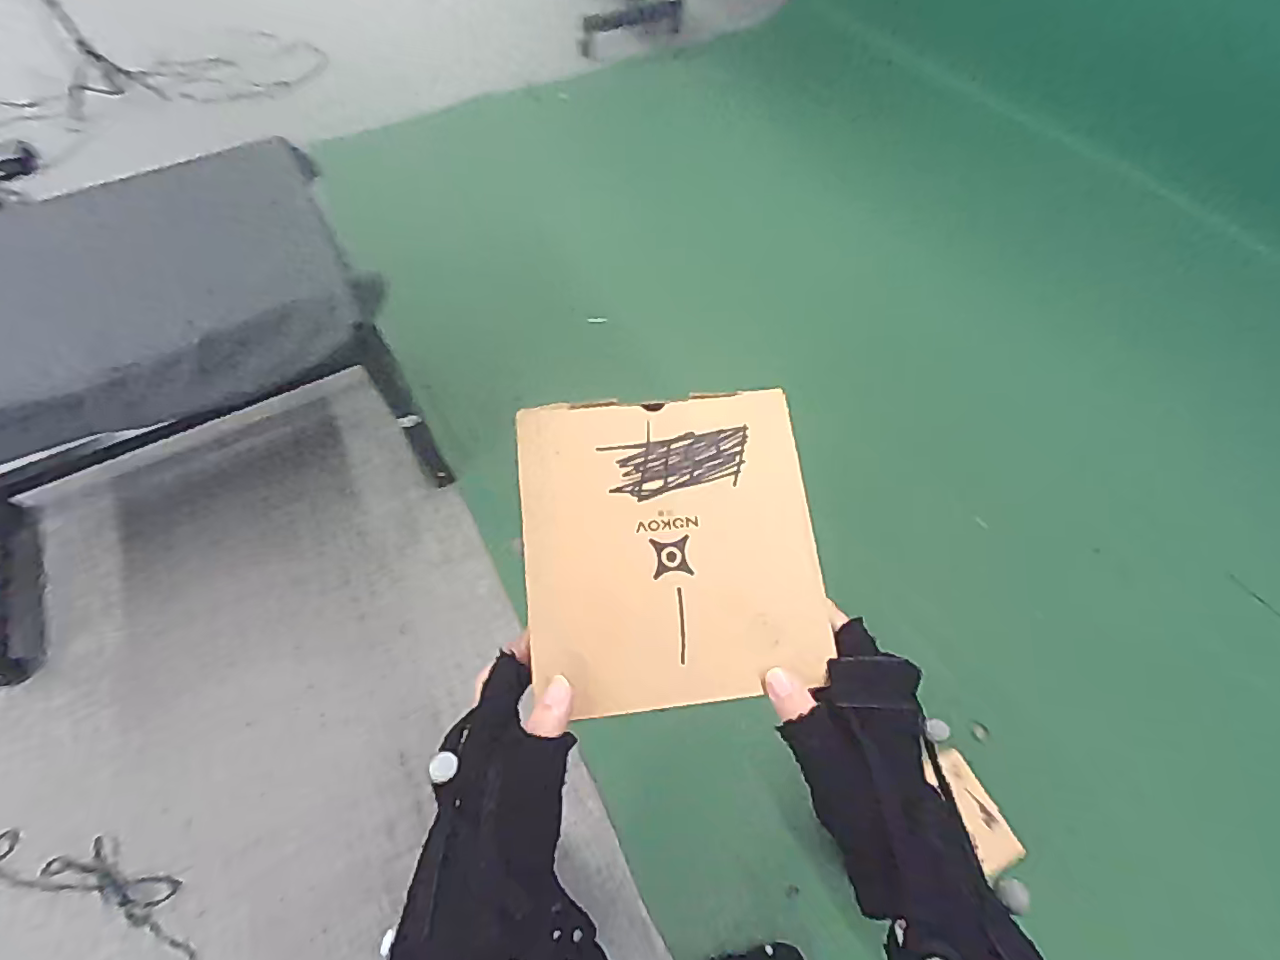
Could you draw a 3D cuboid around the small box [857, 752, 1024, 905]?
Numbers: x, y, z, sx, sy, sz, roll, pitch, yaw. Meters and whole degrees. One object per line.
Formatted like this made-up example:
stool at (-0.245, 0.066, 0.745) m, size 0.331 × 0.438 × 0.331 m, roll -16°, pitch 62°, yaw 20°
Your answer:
small box at (0.512, 0.610, 0.960) m, size 0.179 × 0.176 × 0.168 m, roll -22°, pitch 62°, yaw -11°
